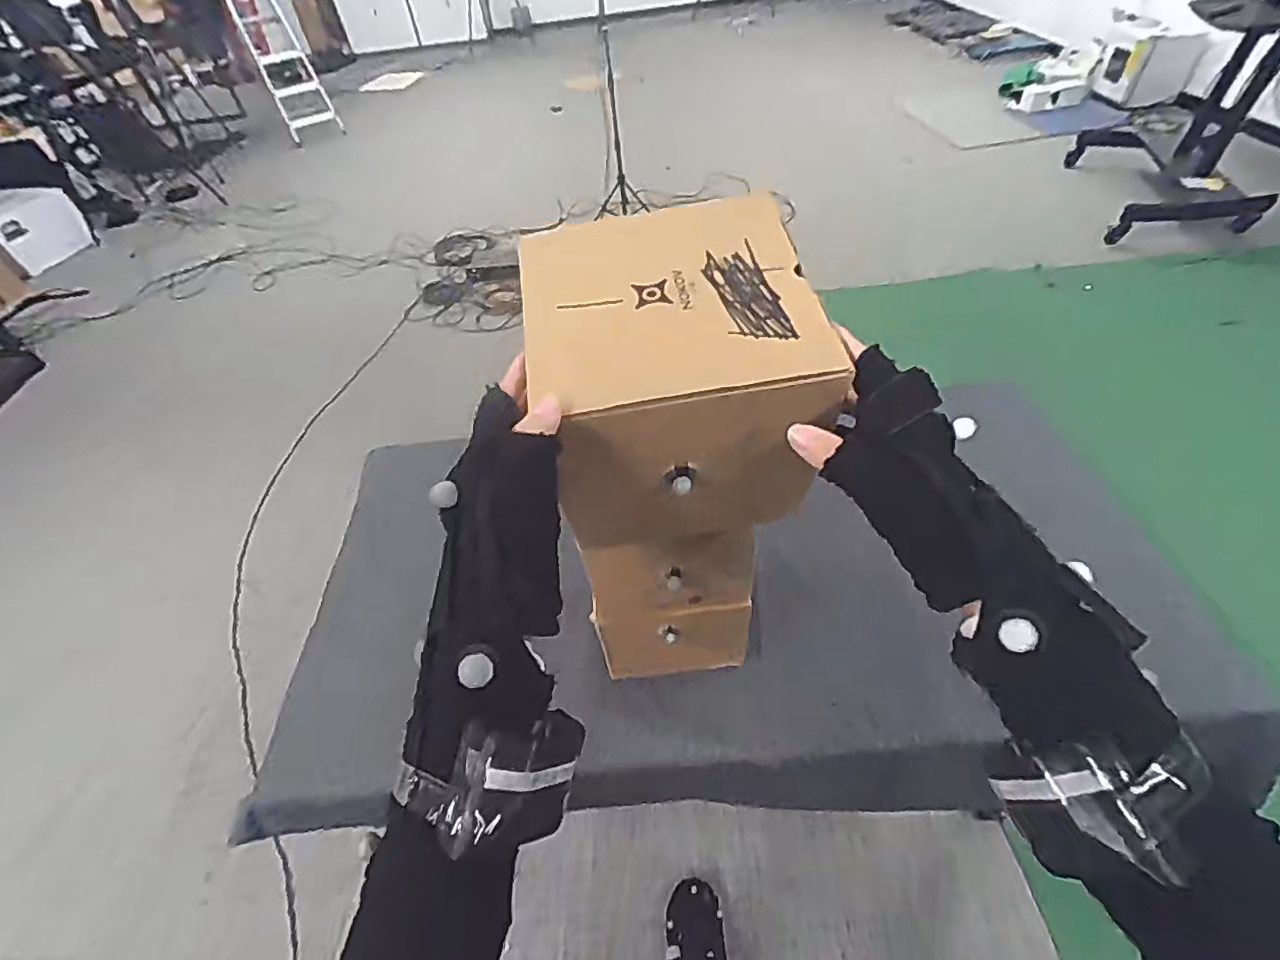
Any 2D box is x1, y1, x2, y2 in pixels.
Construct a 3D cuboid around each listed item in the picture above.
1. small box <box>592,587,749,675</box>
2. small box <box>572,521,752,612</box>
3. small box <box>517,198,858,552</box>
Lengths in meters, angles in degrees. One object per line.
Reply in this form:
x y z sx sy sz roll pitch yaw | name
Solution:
0.035 0.139 0.698 0.179 0.176 0.168 -6 50 0 | small box
0.022 0.027 0.579 0.168 0.176 0.179 -8 50 0 | small box
0.021 -0.066 0.390 0.179 0.176 0.168 -11 59 -4 | small box
